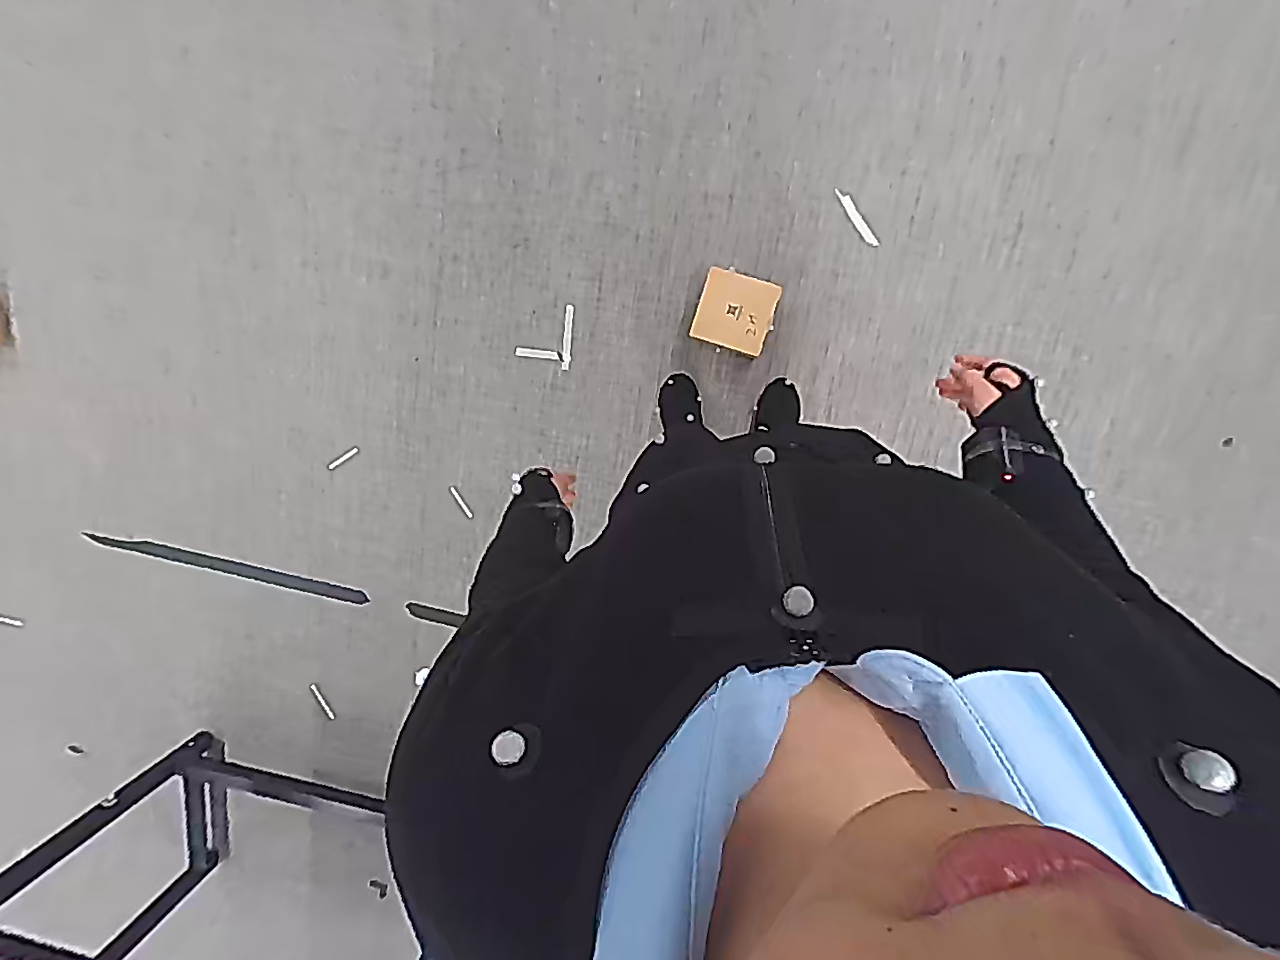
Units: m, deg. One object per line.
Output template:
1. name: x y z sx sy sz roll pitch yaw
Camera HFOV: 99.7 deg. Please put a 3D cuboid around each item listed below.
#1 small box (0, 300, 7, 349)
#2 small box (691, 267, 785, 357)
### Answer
1. small box: -2.133 -0.495 1.675 0.179 0.176 0.168 3 102 8
2. small box: 0.236 -0.403 1.329 0.179 0.176 0.168 19 104 4
